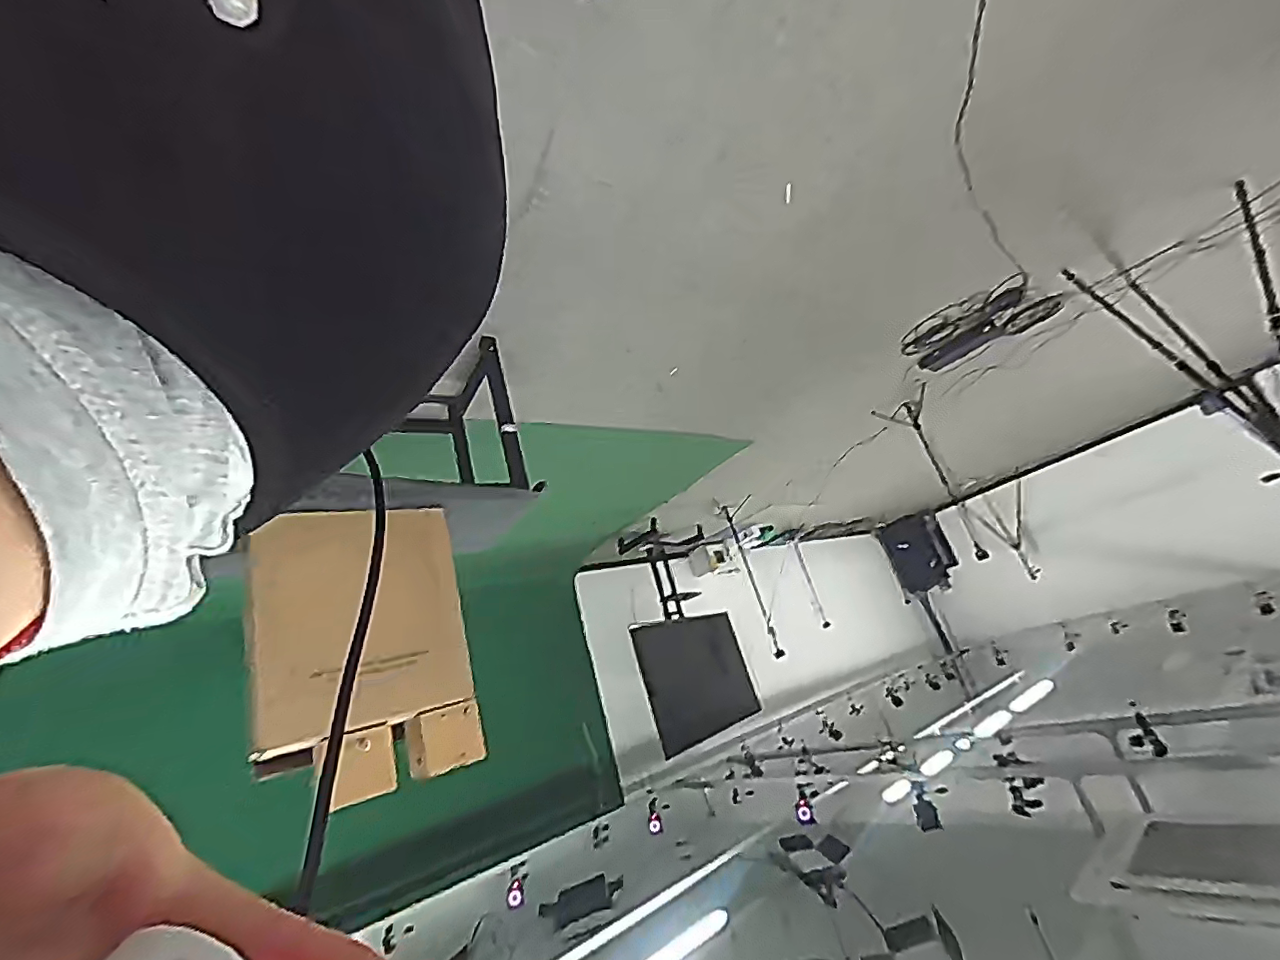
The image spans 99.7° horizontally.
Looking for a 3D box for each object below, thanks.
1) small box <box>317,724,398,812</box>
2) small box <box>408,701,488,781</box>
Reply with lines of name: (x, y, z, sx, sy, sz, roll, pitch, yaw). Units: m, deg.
small box: (-0.768, 0.773, 1.460, 0.168, 0.176, 0.179, -1, 154, -38)
small box: (-0.576, 0.770, 1.605, 0.168, 0.176, 0.179, 0, 155, -40)
